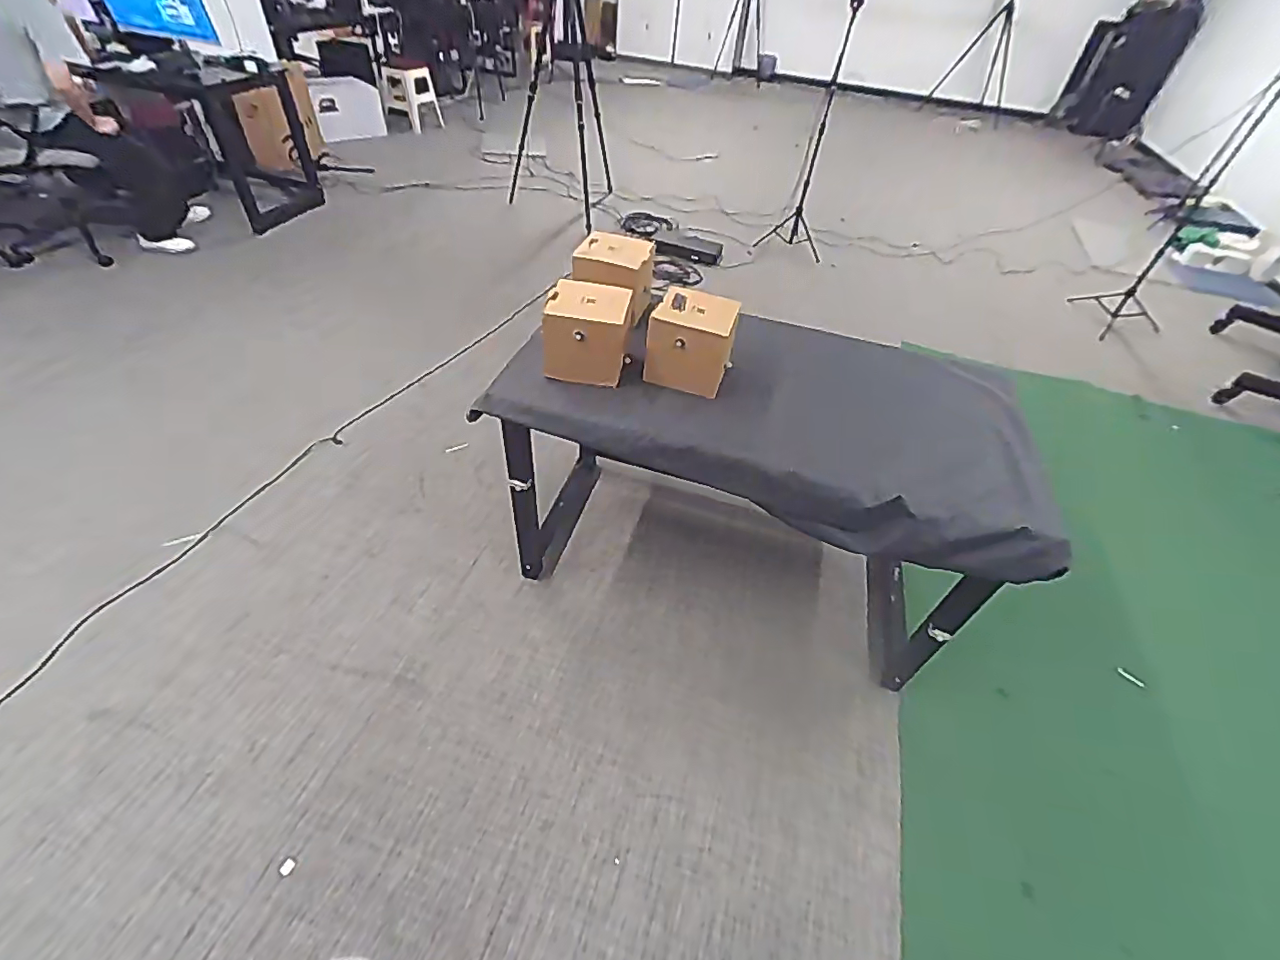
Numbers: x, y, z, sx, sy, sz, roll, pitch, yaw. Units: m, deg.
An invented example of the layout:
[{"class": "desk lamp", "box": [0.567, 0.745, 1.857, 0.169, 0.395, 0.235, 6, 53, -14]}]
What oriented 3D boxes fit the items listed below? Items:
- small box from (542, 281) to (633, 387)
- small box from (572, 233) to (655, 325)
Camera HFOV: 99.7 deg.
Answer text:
[{"class": "small box", "box": [-0.120, -0.335, 1.251, 0.179, 0.176, 0.168, 10, 46, 0]}, {"class": "small box", "box": [-0.072, -0.528, 1.444, 0.179, 0.176, 0.168, 16, 47, 7]}]
